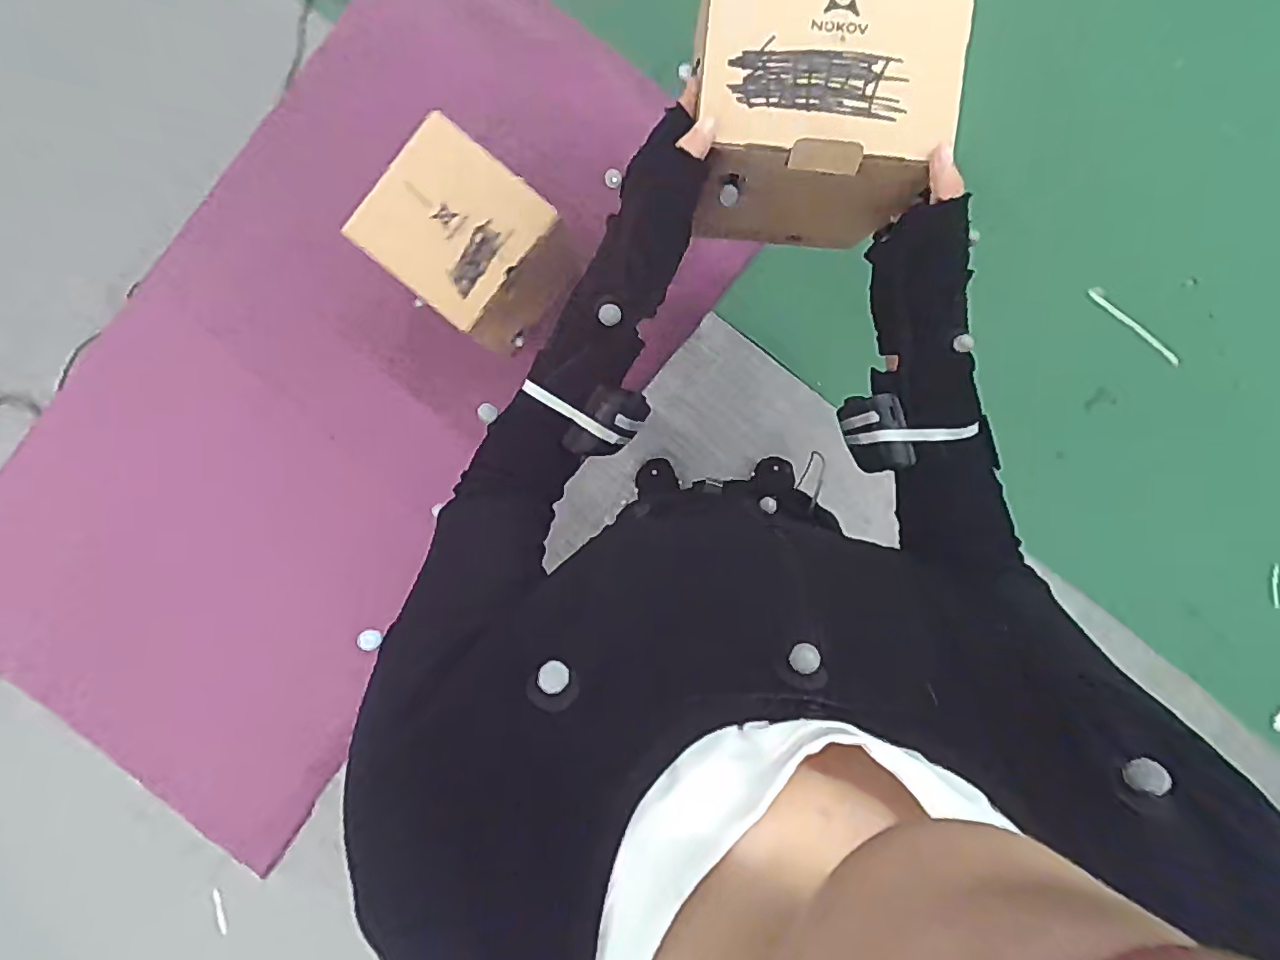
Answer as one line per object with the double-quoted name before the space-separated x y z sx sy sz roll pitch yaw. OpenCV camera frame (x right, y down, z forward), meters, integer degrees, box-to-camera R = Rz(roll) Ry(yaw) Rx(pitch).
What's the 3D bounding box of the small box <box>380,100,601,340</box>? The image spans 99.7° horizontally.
"small box" -0.163 -0.291 0.658 0.168 0.176 0.179 -43 91 1
